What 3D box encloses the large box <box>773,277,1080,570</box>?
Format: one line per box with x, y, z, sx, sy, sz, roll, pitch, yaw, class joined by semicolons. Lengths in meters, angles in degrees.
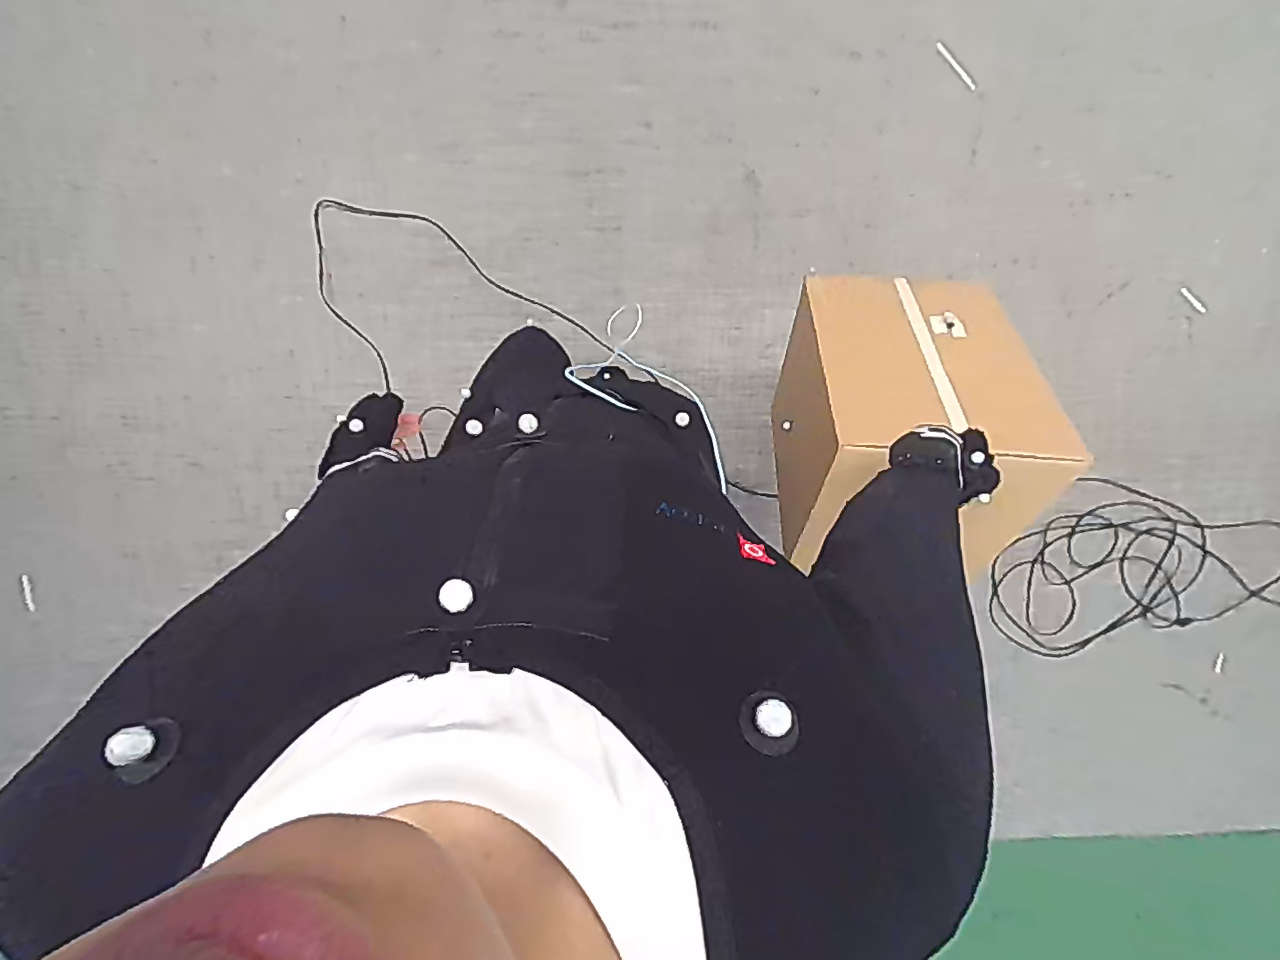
0.423;-0.095;0.928;0.320;0.408;0.320;4;141;2;large box
